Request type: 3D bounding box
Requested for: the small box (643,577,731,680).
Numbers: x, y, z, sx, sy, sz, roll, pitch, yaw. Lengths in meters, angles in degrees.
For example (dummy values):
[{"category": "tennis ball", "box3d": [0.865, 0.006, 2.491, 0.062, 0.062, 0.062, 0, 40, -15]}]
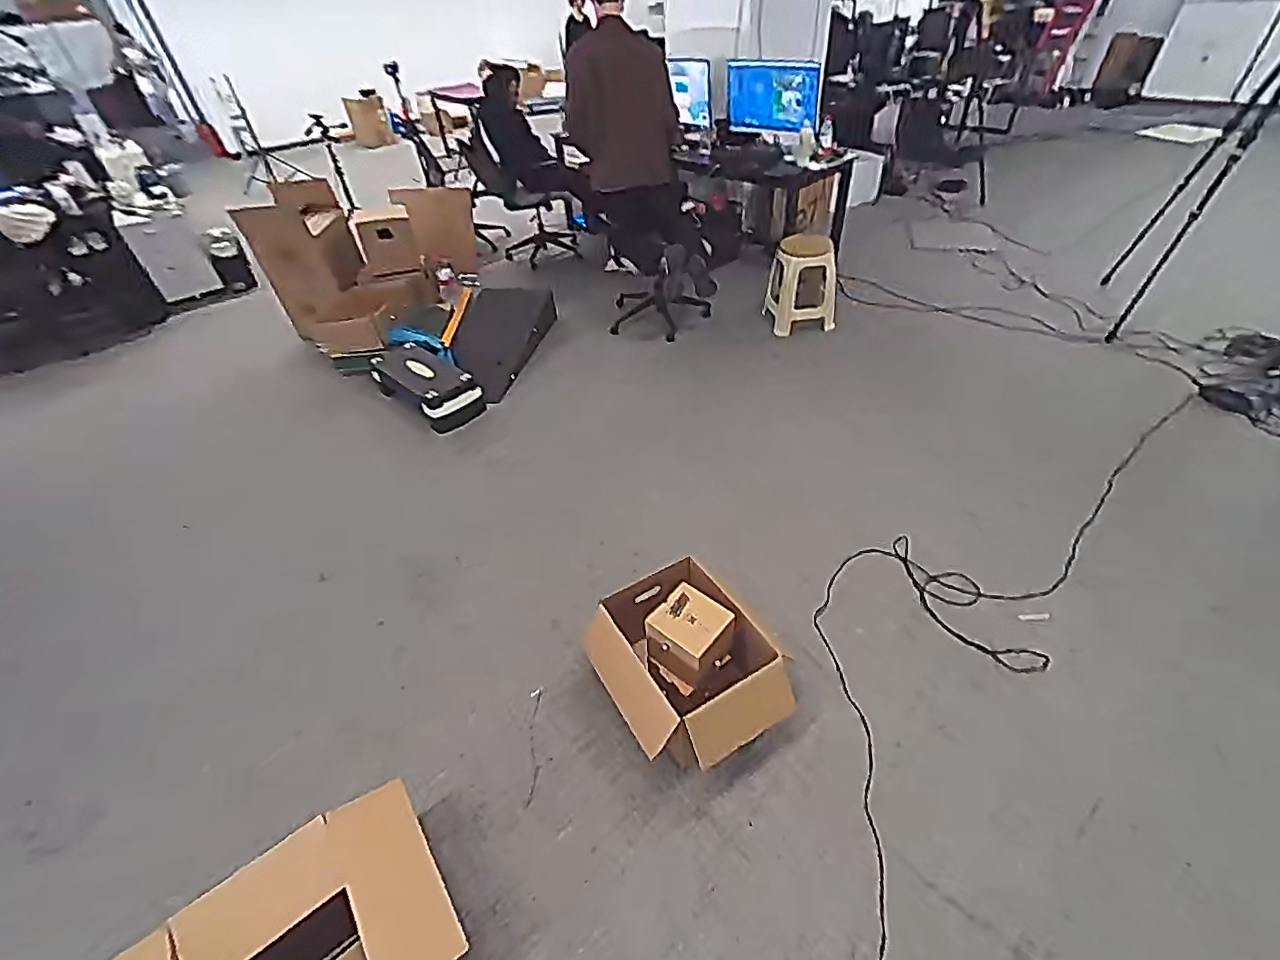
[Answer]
[{"category": "small box", "box3d": [0.127, 0.404, 1.463, 0.179, 0.176, 0.168, 31, 55, 34]}]
